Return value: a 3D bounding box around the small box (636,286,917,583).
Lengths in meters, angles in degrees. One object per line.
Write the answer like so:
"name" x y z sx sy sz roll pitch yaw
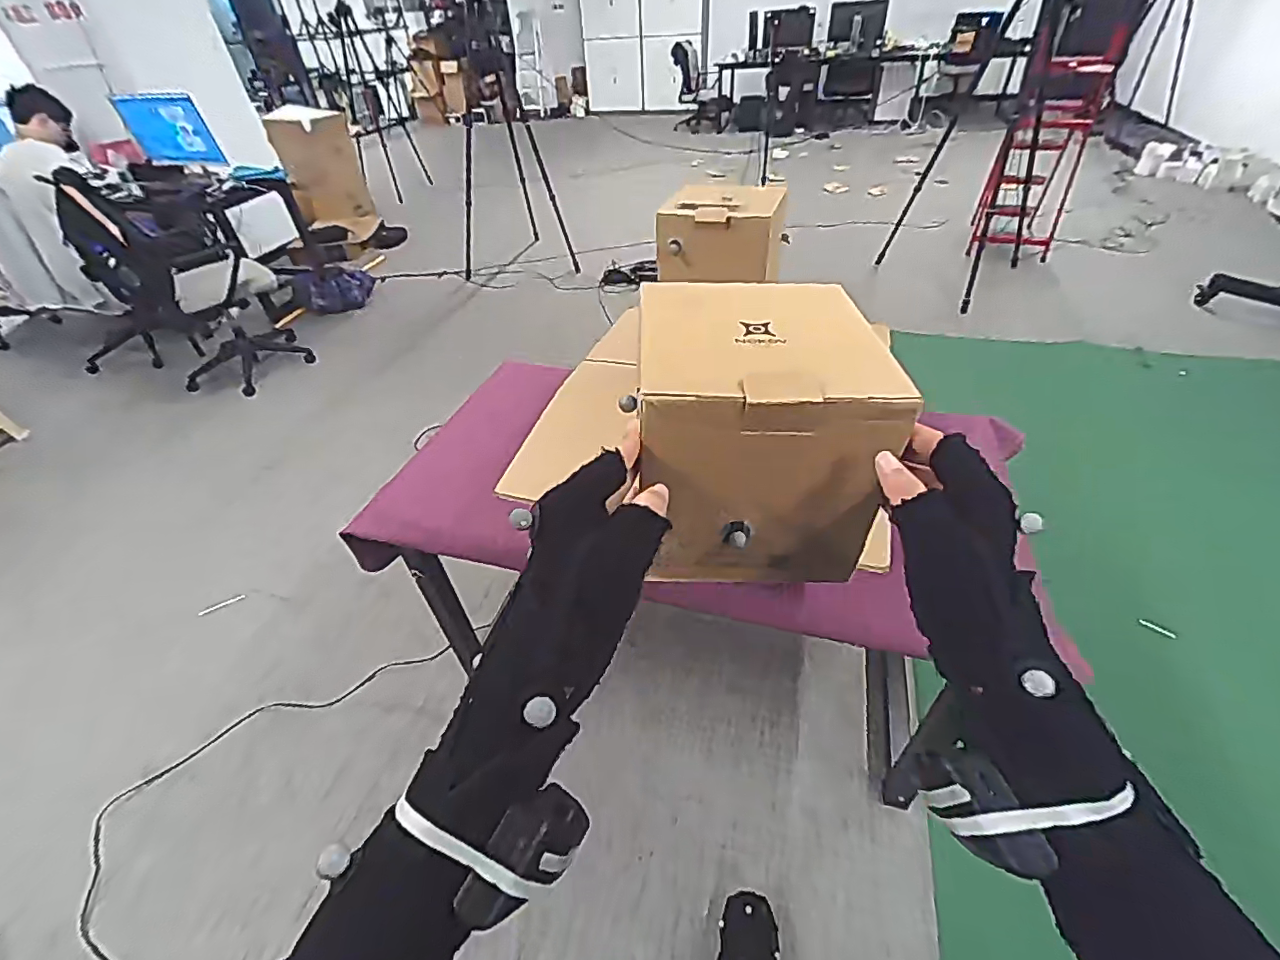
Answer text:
"small box" 0.081 -0.039 0.433 0.168 0.176 0.179 0 42 -1
